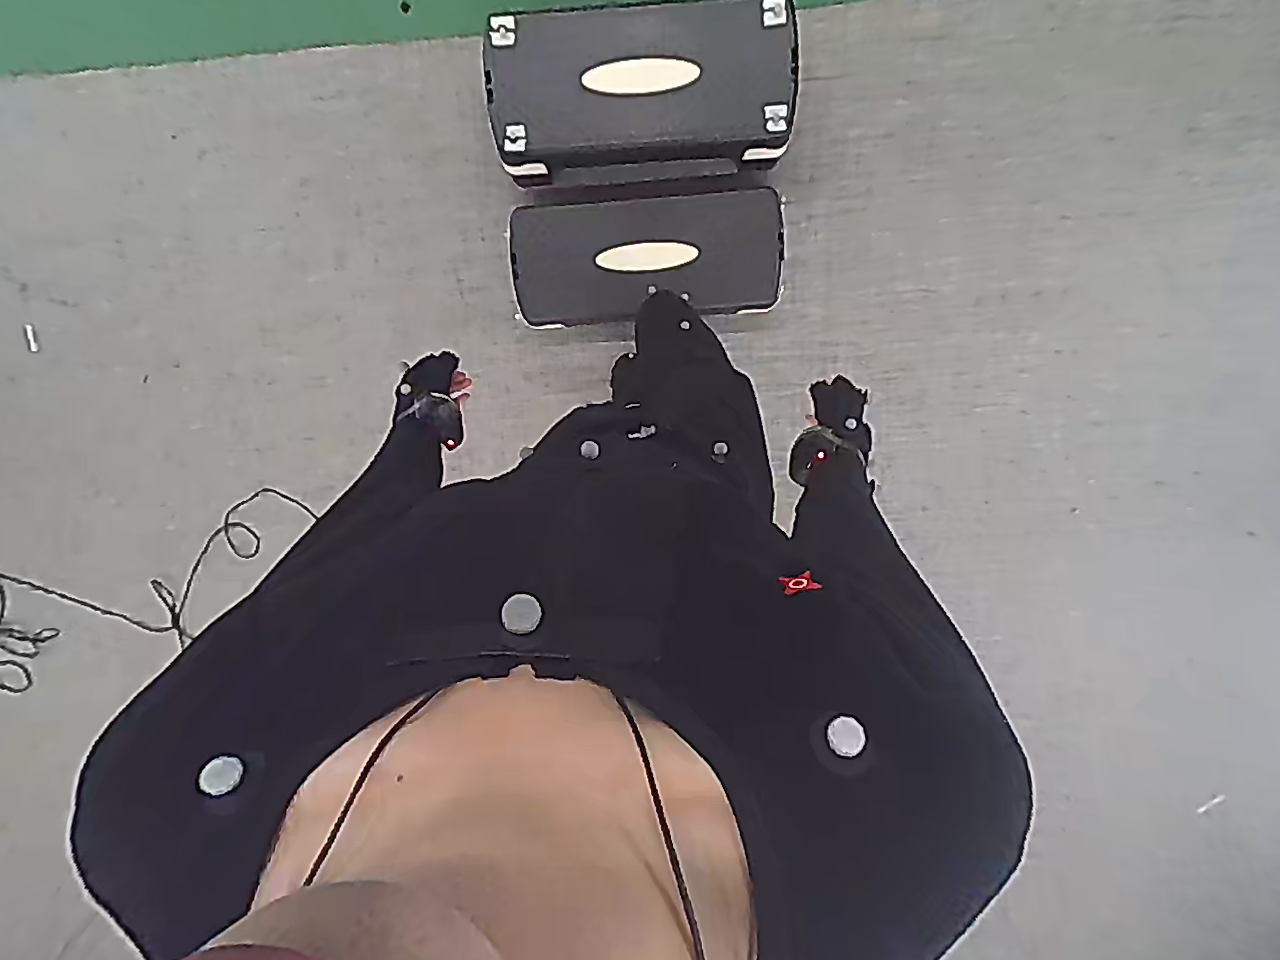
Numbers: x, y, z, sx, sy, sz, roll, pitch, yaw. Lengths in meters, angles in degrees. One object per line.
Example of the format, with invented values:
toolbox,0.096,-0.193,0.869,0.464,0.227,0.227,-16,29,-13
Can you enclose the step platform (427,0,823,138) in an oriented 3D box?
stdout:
step platform,-0.026,-0.843,1.008,0.684,0.204,0.286,-3,104,2
